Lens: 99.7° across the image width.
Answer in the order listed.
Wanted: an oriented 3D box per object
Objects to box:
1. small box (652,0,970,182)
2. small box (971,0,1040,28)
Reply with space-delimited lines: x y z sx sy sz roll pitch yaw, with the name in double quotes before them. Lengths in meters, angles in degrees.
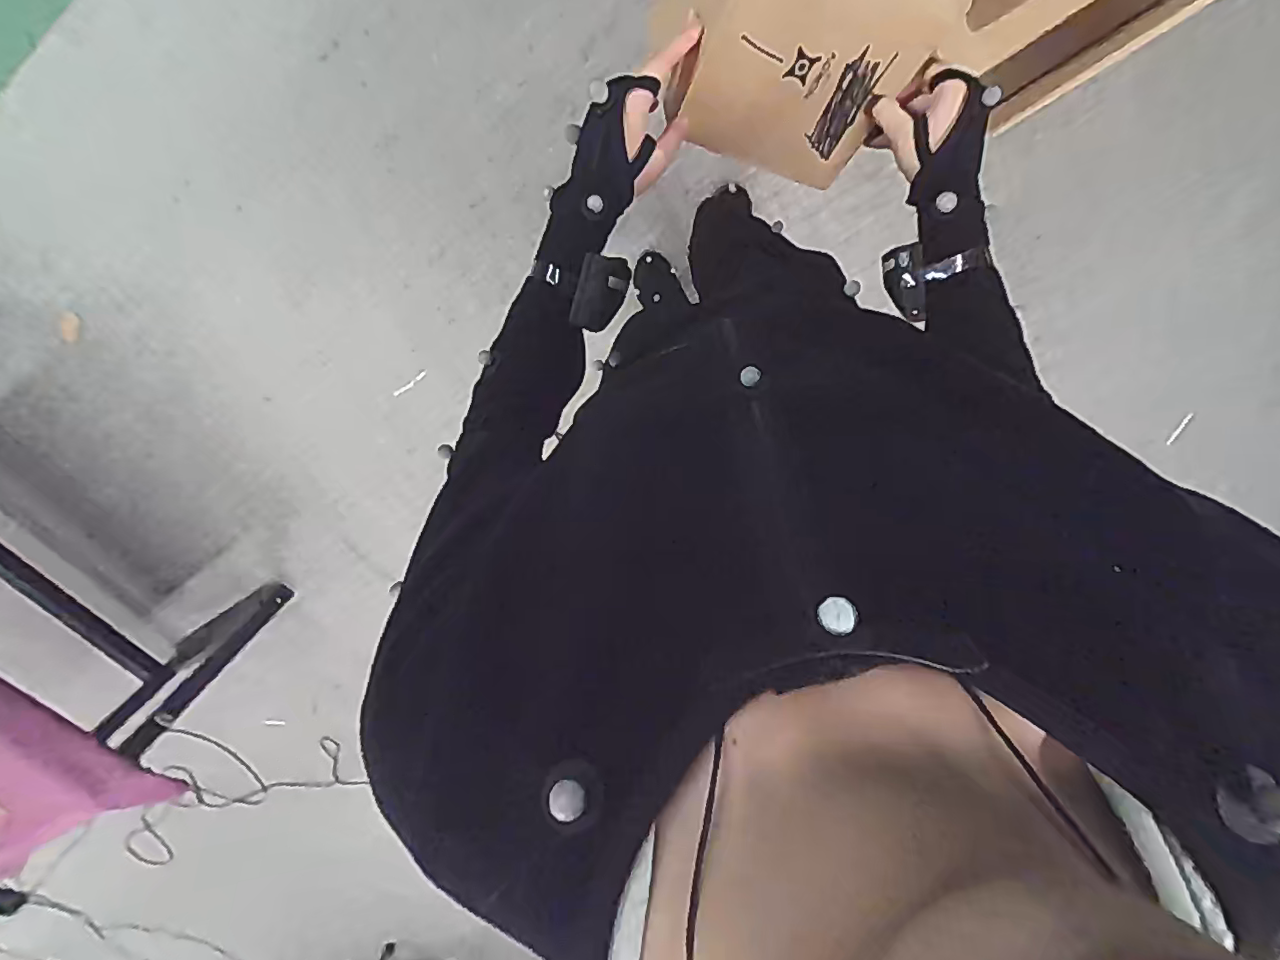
"small box" 0.125 -0.400 0.453 0.179 0.176 0.168 6 152 -23
"small box" 0.535 -0.723 0.672 0.179 0.176 0.168 -26 110 12
